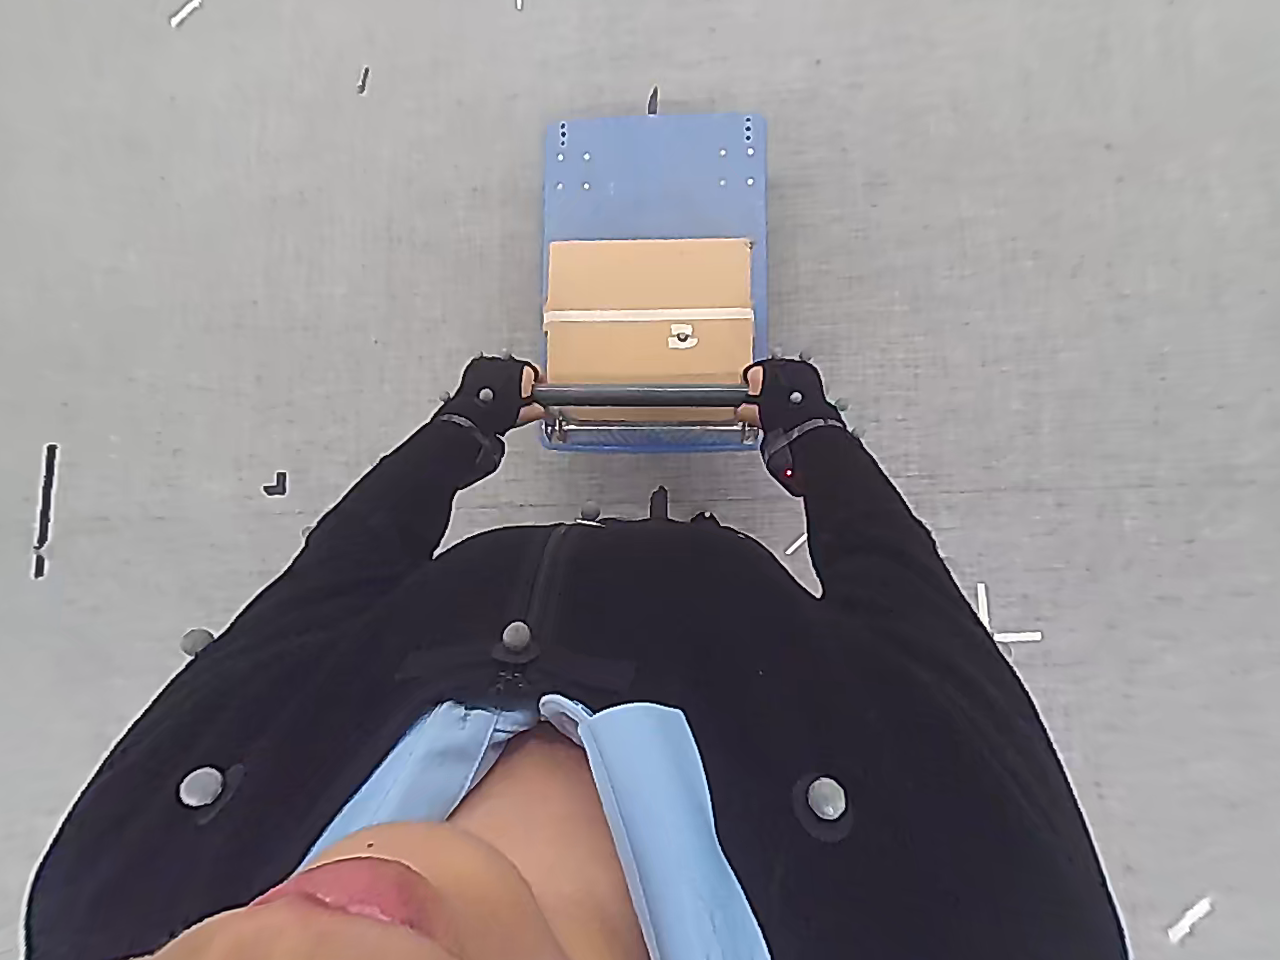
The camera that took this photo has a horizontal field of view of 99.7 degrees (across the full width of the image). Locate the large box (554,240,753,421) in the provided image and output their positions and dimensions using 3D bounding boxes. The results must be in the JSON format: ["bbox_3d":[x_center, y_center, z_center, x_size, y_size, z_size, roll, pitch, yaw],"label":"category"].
[{"bbox_3d":[0.028,-0.317,1.229,0.408,0.320,0.320,0,87,2],"label":"large box"}]
